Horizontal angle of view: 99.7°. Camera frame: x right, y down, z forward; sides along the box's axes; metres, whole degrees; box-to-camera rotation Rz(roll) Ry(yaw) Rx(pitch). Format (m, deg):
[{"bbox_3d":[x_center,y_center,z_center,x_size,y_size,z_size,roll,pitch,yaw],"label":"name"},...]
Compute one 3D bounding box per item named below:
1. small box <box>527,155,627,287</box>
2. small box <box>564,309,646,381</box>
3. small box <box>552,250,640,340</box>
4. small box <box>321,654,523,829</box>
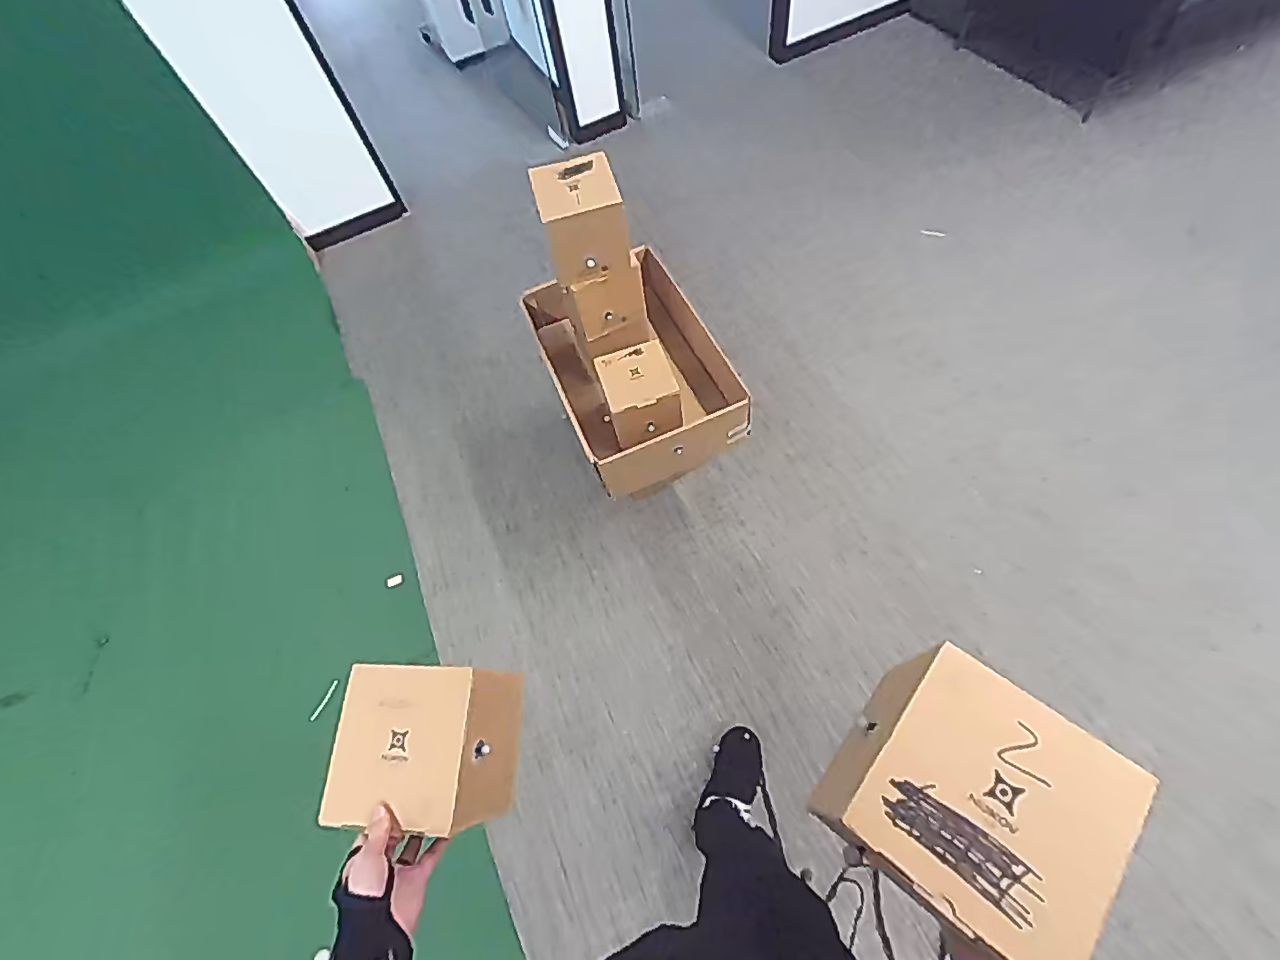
[{"bbox_3d":[-0.132,-0.551,1.161,0.168,0.176,0.179,-16,63,-2],"label":"small box"},{"bbox_3d":[-0.094,-0.401,1.449,0.168,0.176,0.179,-24,63,-6],"label":"small box"},{"bbox_3d":[-0.110,-0.474,1.305,0.168,0.176,0.179,-24,63,-7],"label":"small box"},{"bbox_3d":[-0.264,0.327,0.702,0.168,0.176,0.179,-1,67,11],"label":"small box"}]
